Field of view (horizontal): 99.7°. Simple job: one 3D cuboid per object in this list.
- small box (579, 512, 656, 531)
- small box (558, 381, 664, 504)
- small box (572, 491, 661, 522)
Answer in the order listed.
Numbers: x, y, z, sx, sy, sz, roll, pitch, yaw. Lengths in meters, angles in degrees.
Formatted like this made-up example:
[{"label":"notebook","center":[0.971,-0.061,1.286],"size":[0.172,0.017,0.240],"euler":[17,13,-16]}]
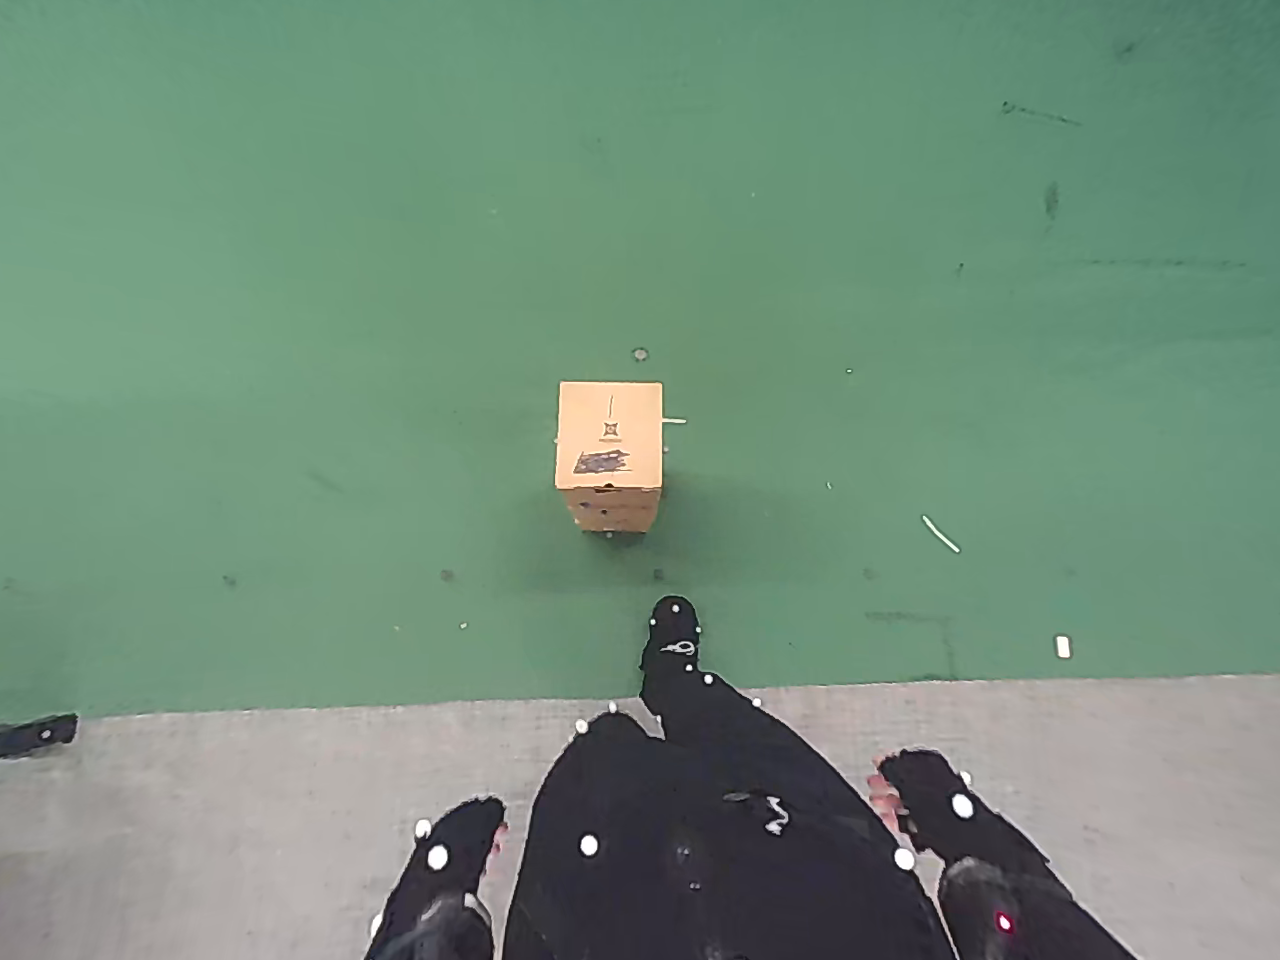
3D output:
[{"label":"small box","center":[-0.049,0.021,1.249],"size":[0.168,0.176,0.179],"euler":[0,80,0]},{"label":"small box","center":[-0.044,-0.056,0.930],"size":[0.168,0.176,0.179],"euler":[1,77,-1]},{"label":"small box","center":[-0.043,-0.017,1.090],"size":[0.168,0.176,0.179],"euler":[1,77,0]}]
